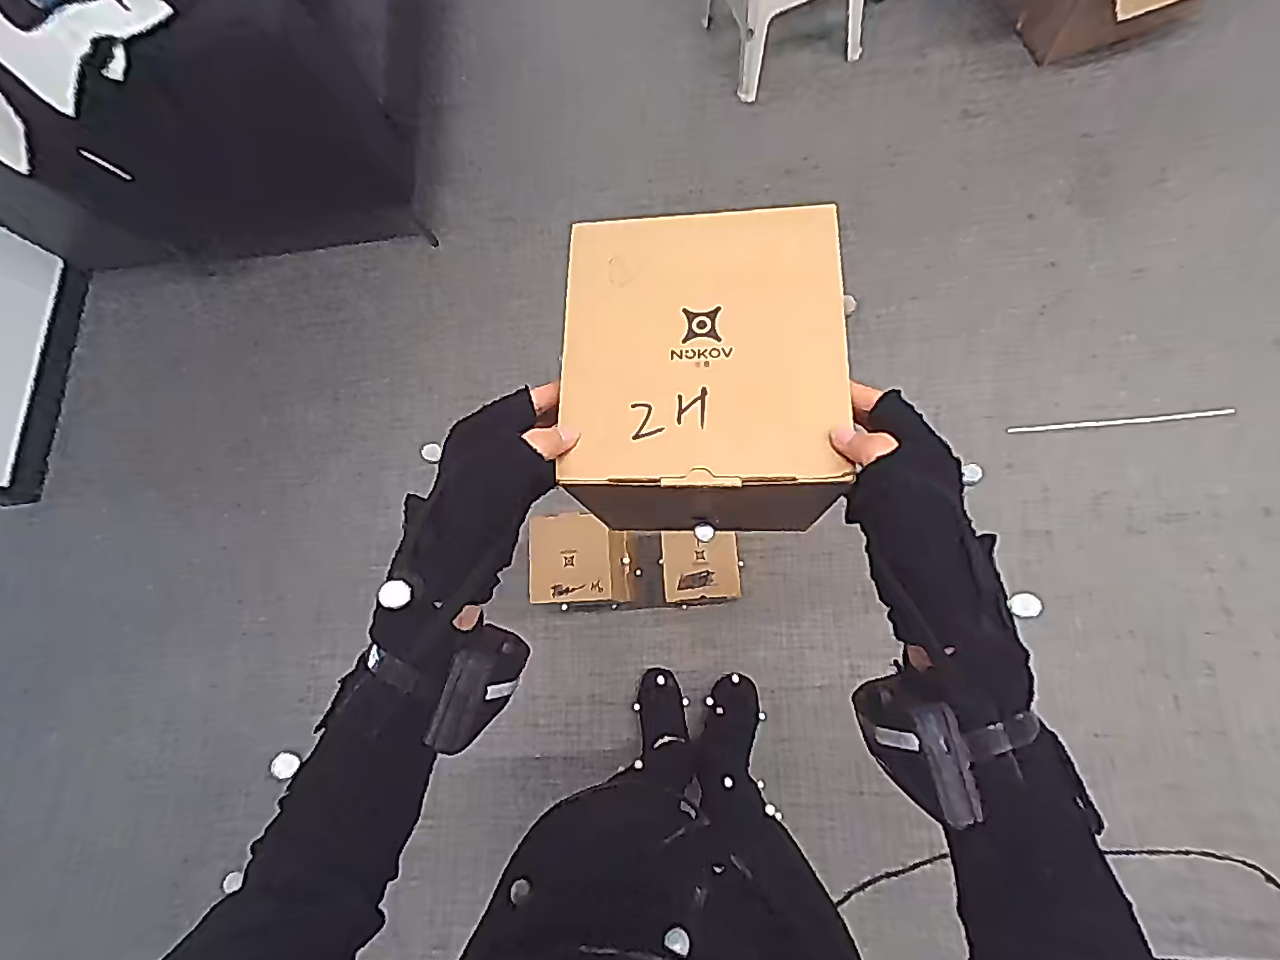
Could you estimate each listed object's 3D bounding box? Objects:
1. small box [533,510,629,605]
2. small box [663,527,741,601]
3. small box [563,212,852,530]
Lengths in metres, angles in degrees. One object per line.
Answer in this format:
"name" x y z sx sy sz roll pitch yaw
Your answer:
"small box" -0.119 0.170 1.144 0.168 0.176 0.179 -4 74 8
"small box" 0.148 0.193 1.266 0.168 0.176 0.179 -5 74 7
"small box" 0.050 -0.064 0.403 0.168 0.176 0.179 0 76 9
